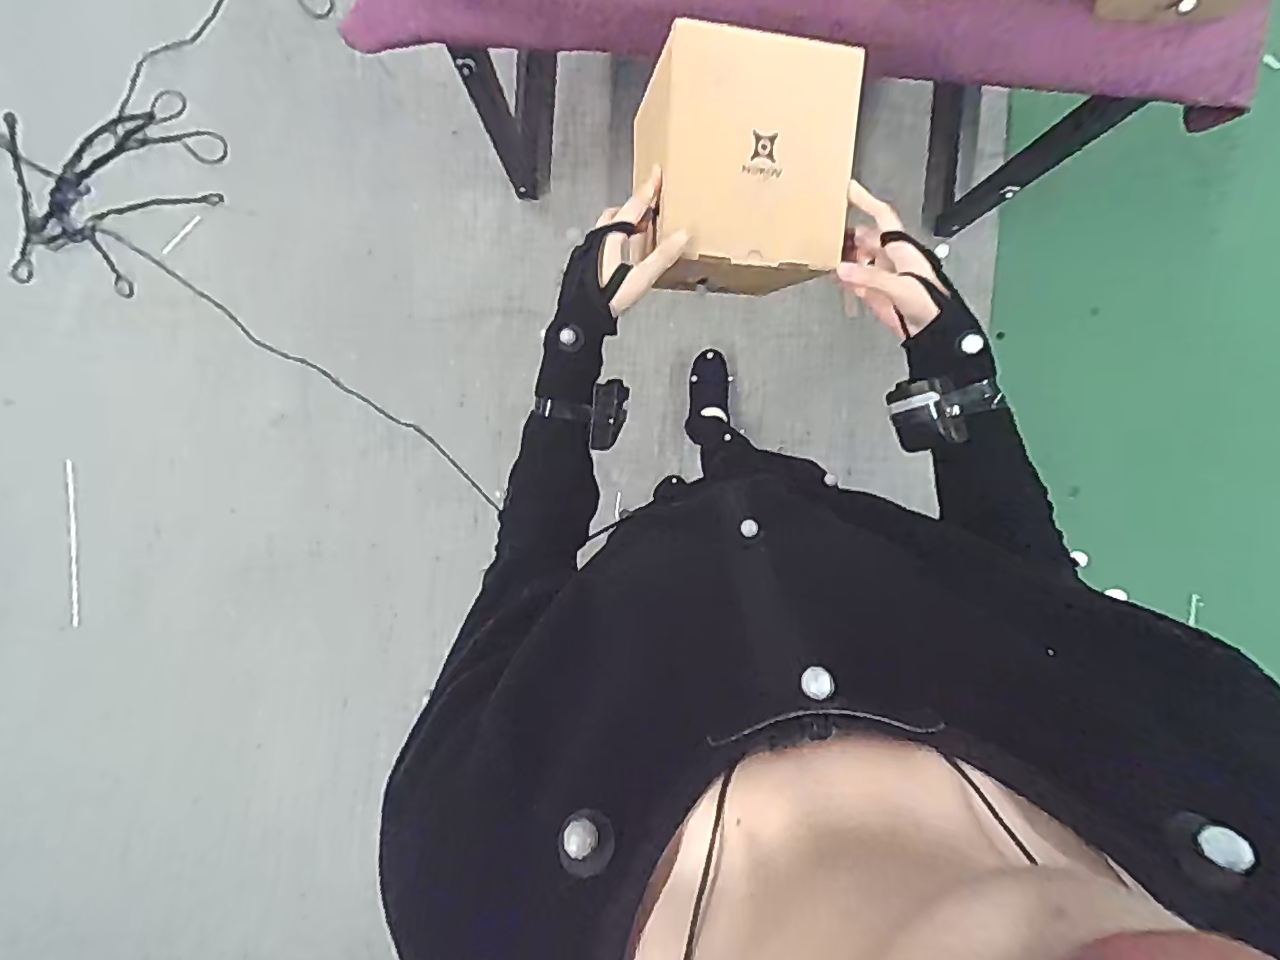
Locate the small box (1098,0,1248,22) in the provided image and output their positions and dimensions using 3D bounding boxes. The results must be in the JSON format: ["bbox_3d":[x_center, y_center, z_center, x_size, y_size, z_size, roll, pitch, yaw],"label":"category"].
[{"bbox_3d":[0.710,-0.696,0.648,0.179,0.176,0.168,1,93,1],"label":"small box"}]
